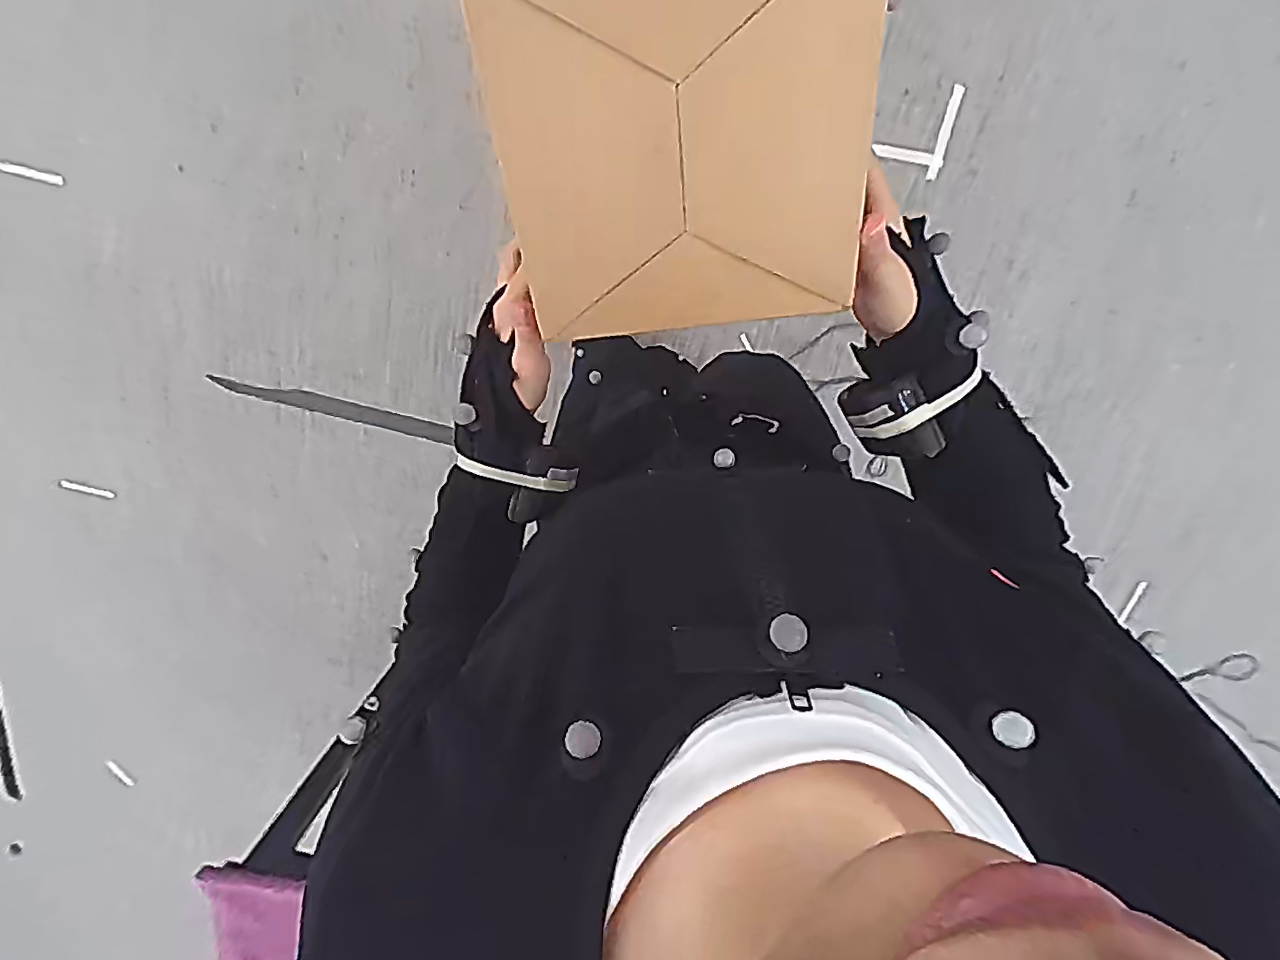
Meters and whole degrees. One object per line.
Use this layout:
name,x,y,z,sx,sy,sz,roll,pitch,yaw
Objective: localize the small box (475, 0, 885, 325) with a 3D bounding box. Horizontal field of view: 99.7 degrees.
small box,0.028,-0.204,0.317,0.179,0.176,0.168,-4,127,5
